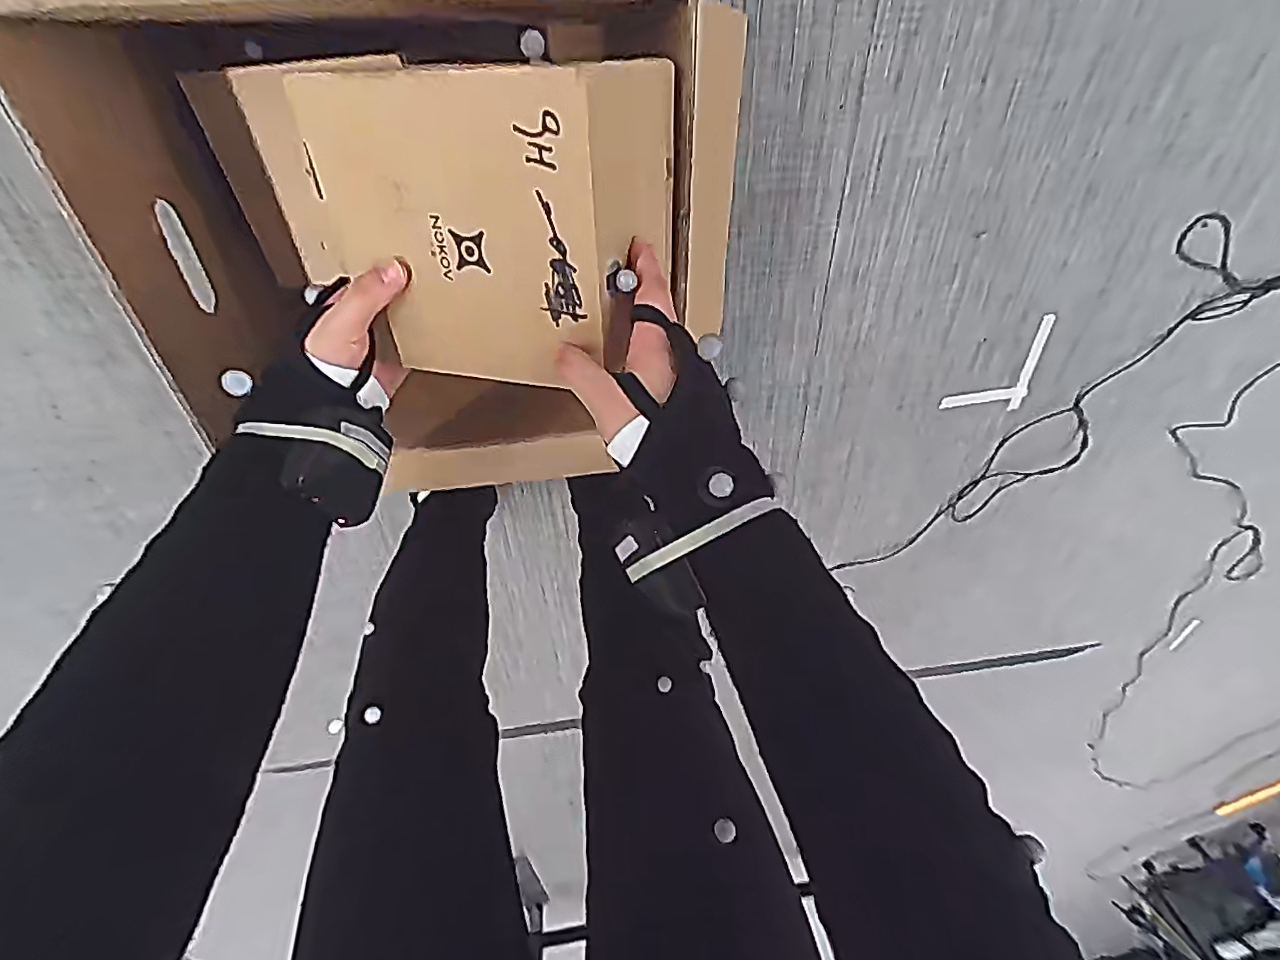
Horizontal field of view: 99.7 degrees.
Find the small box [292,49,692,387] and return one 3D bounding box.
[{"bbox_3d":[-0.074,-0.184,0.365,0.179,0.176,0.168,11,130,15],"label":"small box"}]
